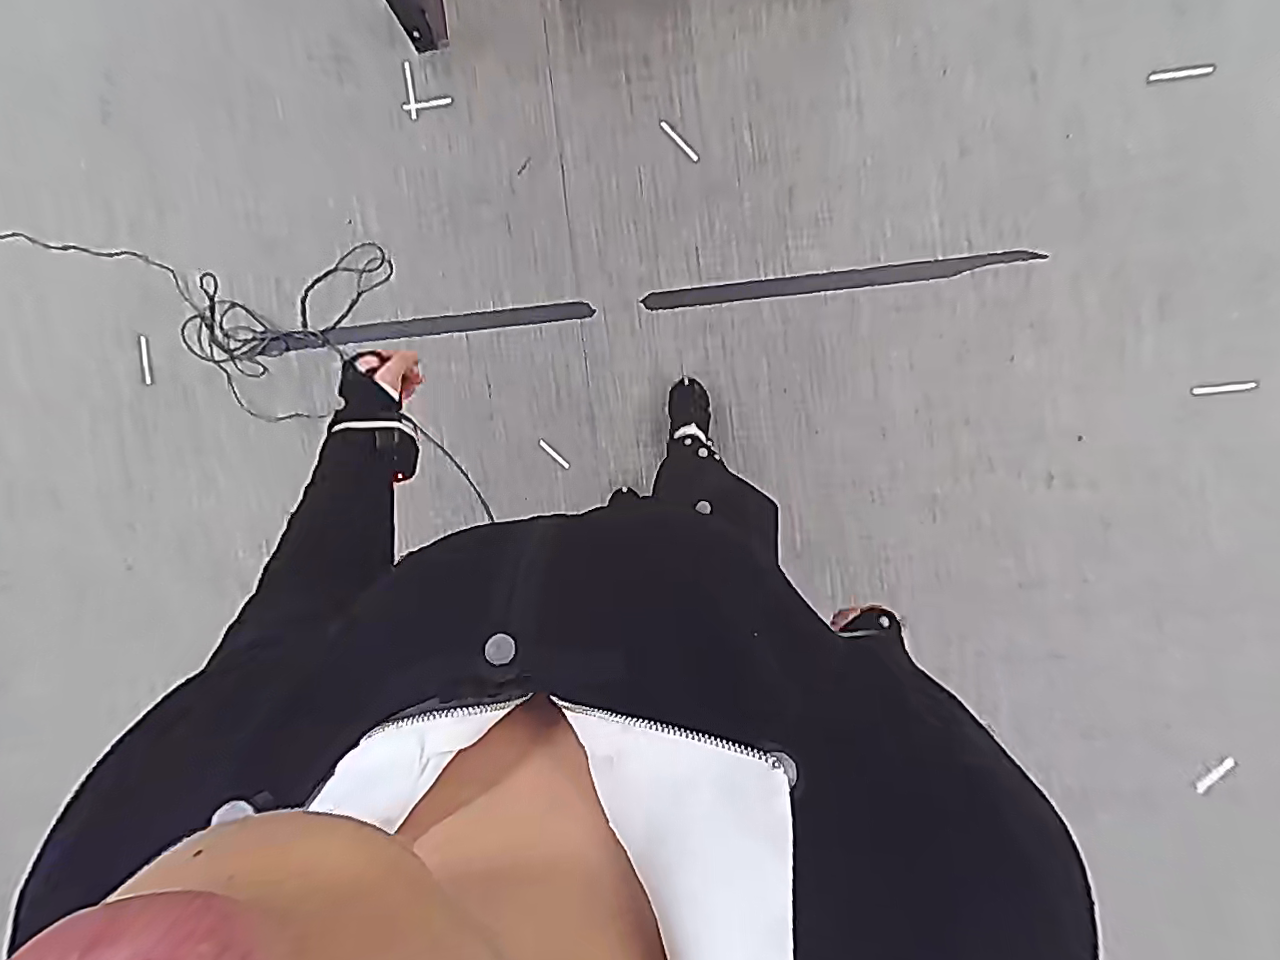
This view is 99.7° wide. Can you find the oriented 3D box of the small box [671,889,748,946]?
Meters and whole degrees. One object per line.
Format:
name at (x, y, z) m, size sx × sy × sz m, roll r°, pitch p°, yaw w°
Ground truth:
small box at (0.164, 1.055, 1.243) m, size 0.168 × 0.176 × 0.179 m, roll -8°, pitch 92°, yaw 3°
